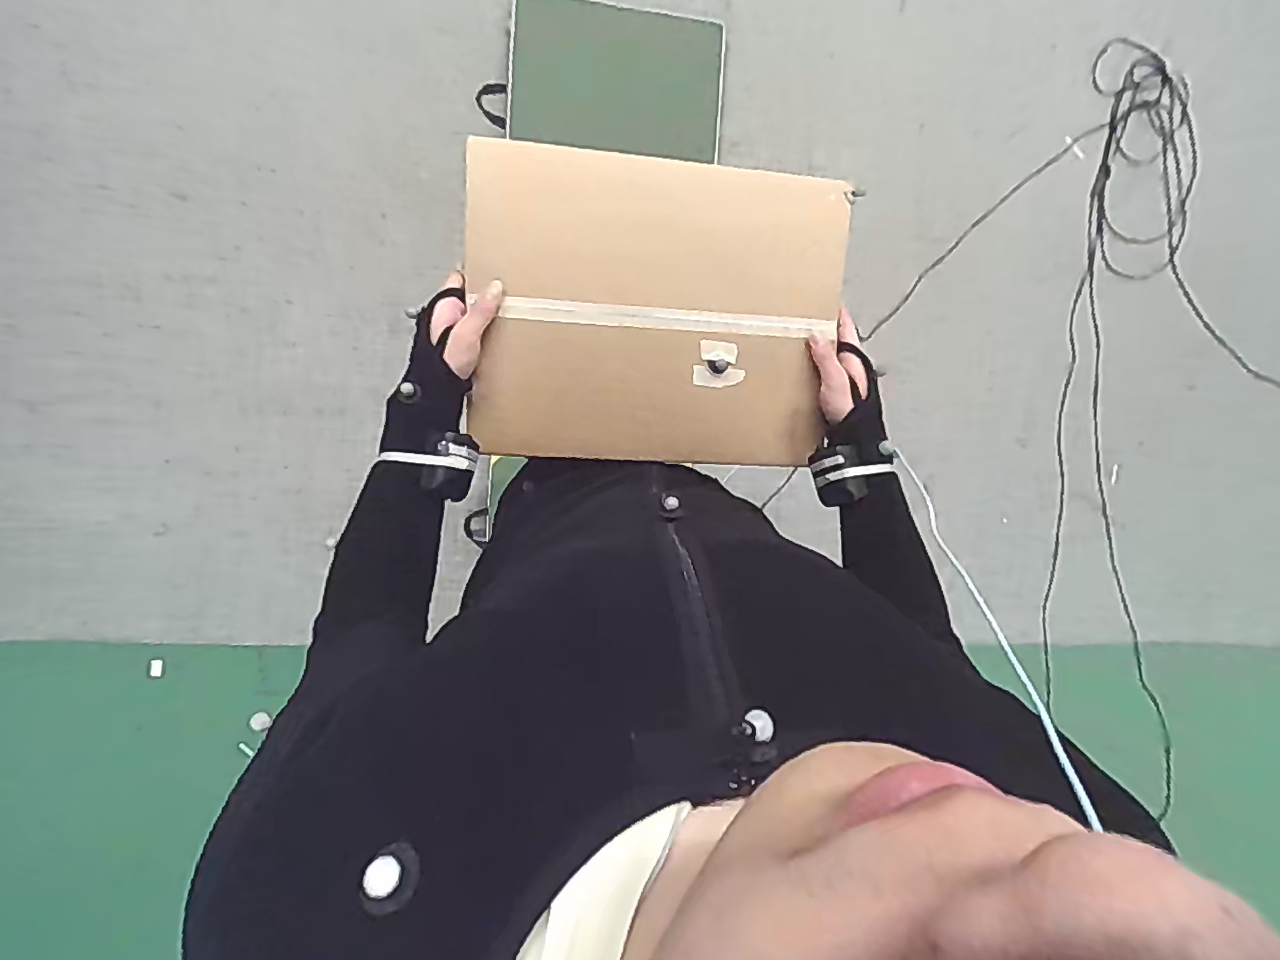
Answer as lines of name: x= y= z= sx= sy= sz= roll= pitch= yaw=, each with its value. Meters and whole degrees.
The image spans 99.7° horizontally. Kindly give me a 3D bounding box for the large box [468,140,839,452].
large box: x=-0.004 y=-0.212 z=0.736 sx=0.408 sy=0.320 sz=0.320 roll=1 pitch=101 yaw=-9
